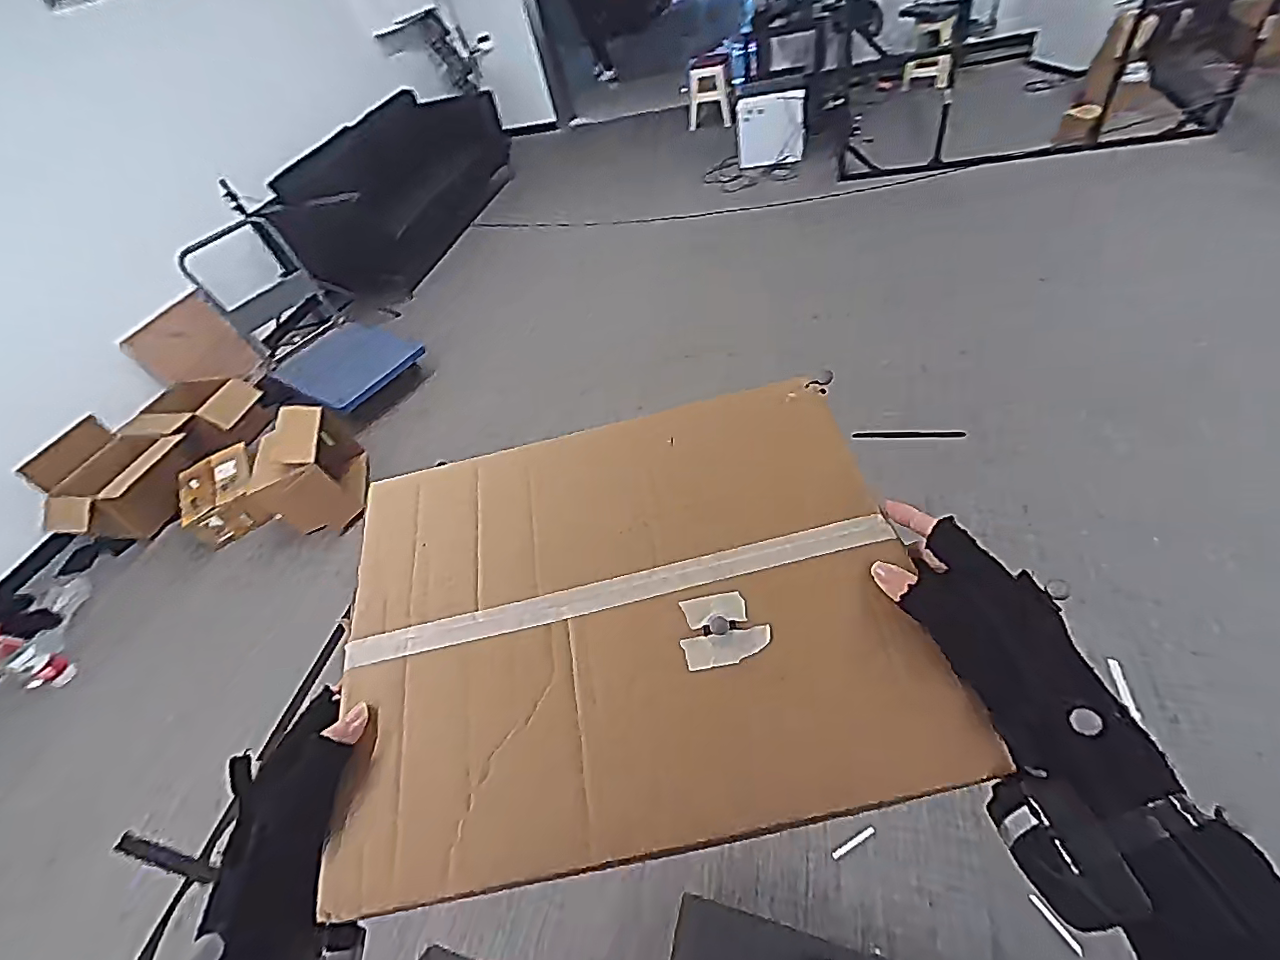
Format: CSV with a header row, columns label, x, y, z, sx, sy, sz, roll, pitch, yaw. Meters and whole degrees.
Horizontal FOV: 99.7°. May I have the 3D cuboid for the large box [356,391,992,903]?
label,x,y,z,sx,sy,sz,roll,pitch,yaw
large box,0.013,0.169,0.529,0.408,0.320,0.320,-13,56,2
